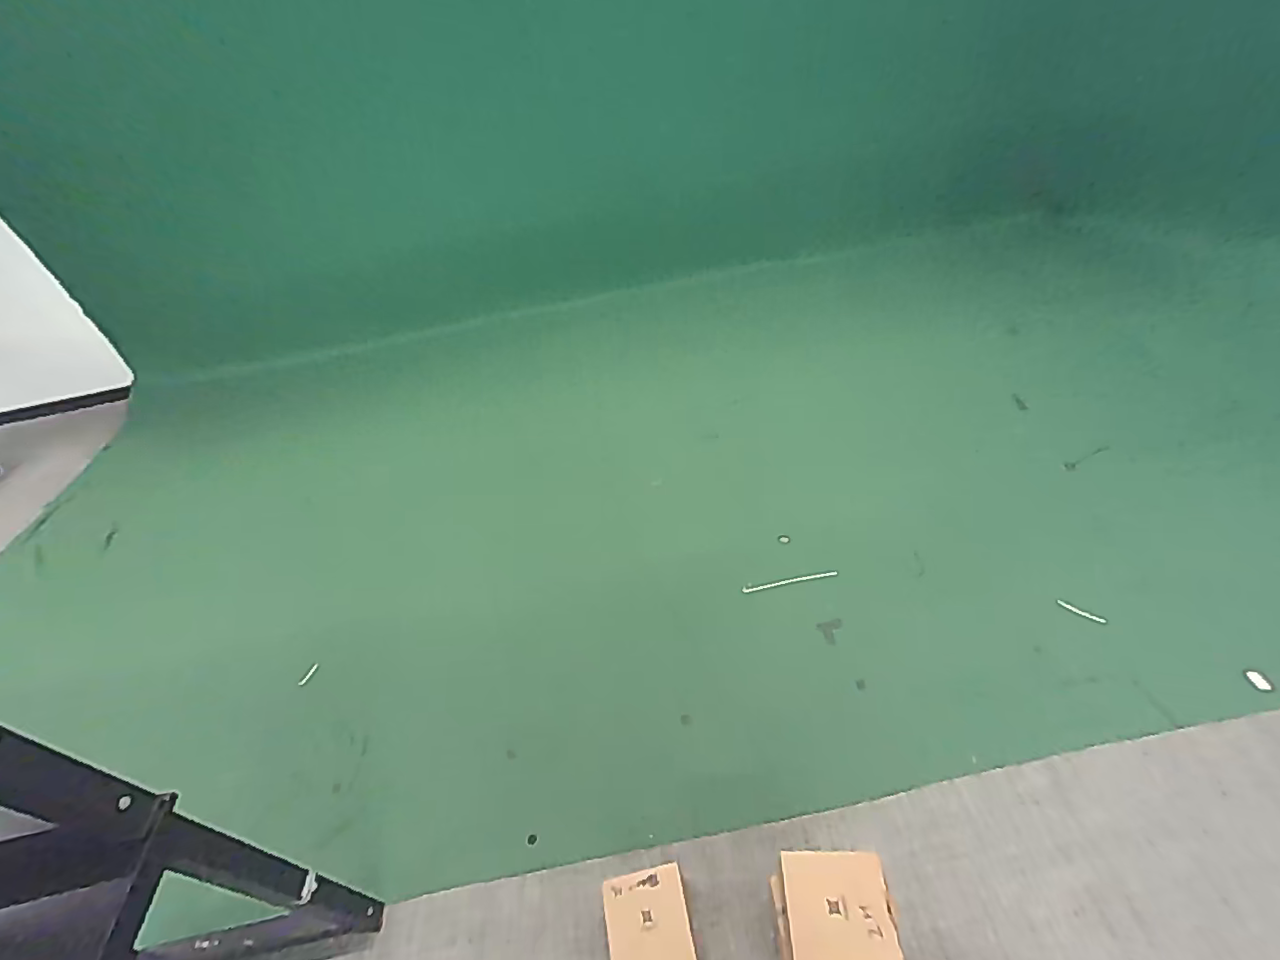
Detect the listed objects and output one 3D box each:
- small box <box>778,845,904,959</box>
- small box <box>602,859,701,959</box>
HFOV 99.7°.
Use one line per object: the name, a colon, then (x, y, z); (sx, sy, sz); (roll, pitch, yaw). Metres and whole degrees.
small box: (0.345, 0.770, 0.966); (0.179, 0.176, 0.168); (-4, 44, 7)
small box: (0.025, 0.920, 1.116); (0.168, 0.176, 0.179); (-13, 42, -2)
